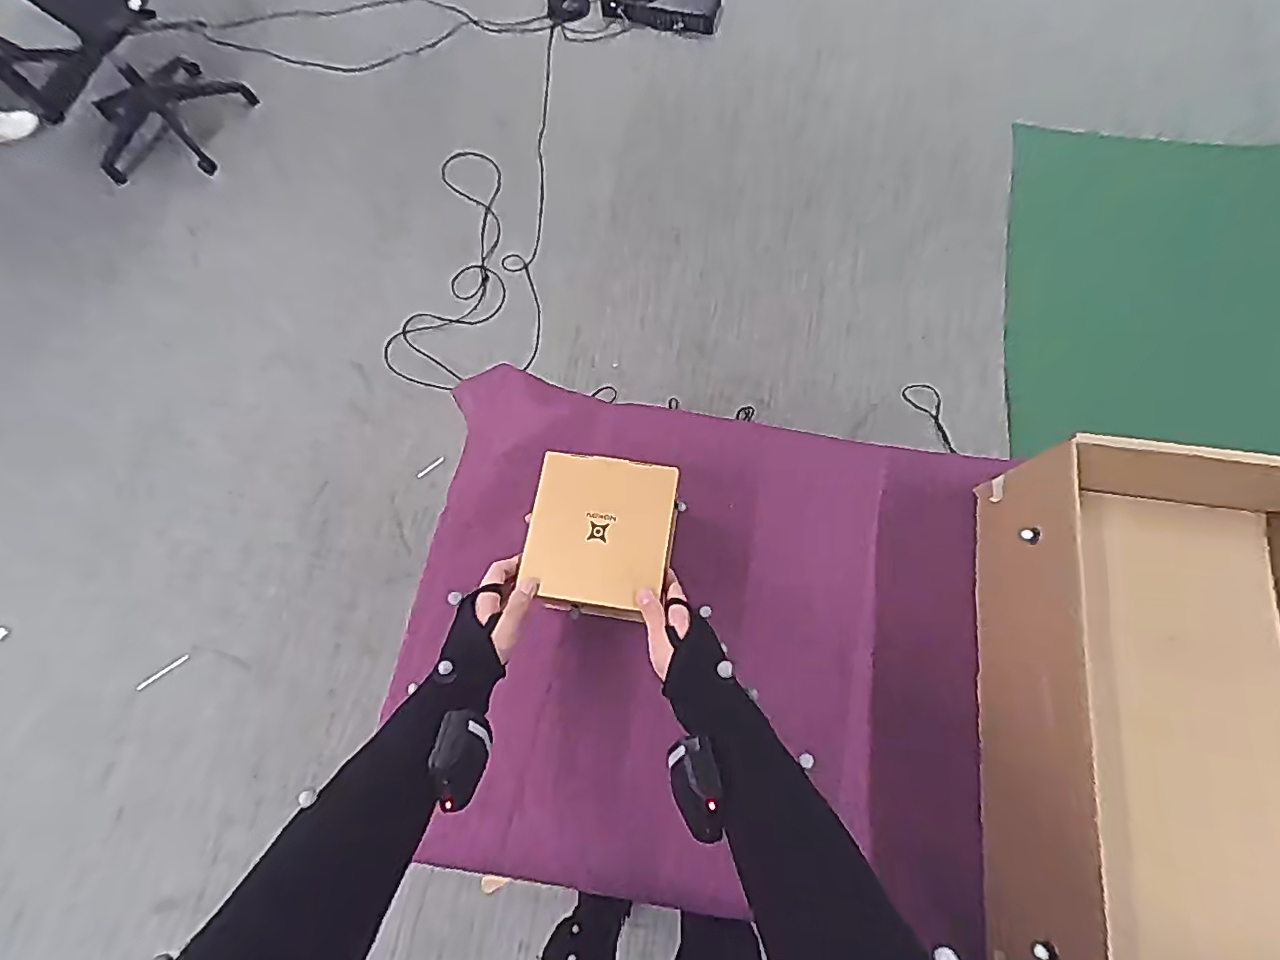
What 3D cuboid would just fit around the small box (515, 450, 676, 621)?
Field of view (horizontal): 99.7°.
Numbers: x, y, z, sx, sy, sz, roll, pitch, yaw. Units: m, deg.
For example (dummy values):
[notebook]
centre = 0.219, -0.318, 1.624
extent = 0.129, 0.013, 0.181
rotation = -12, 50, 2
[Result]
[small box]
centre = -0.044, 0.080, 0.703
extent = 0.168, 0.176, 0.179
rotation = 7, 70, 6
